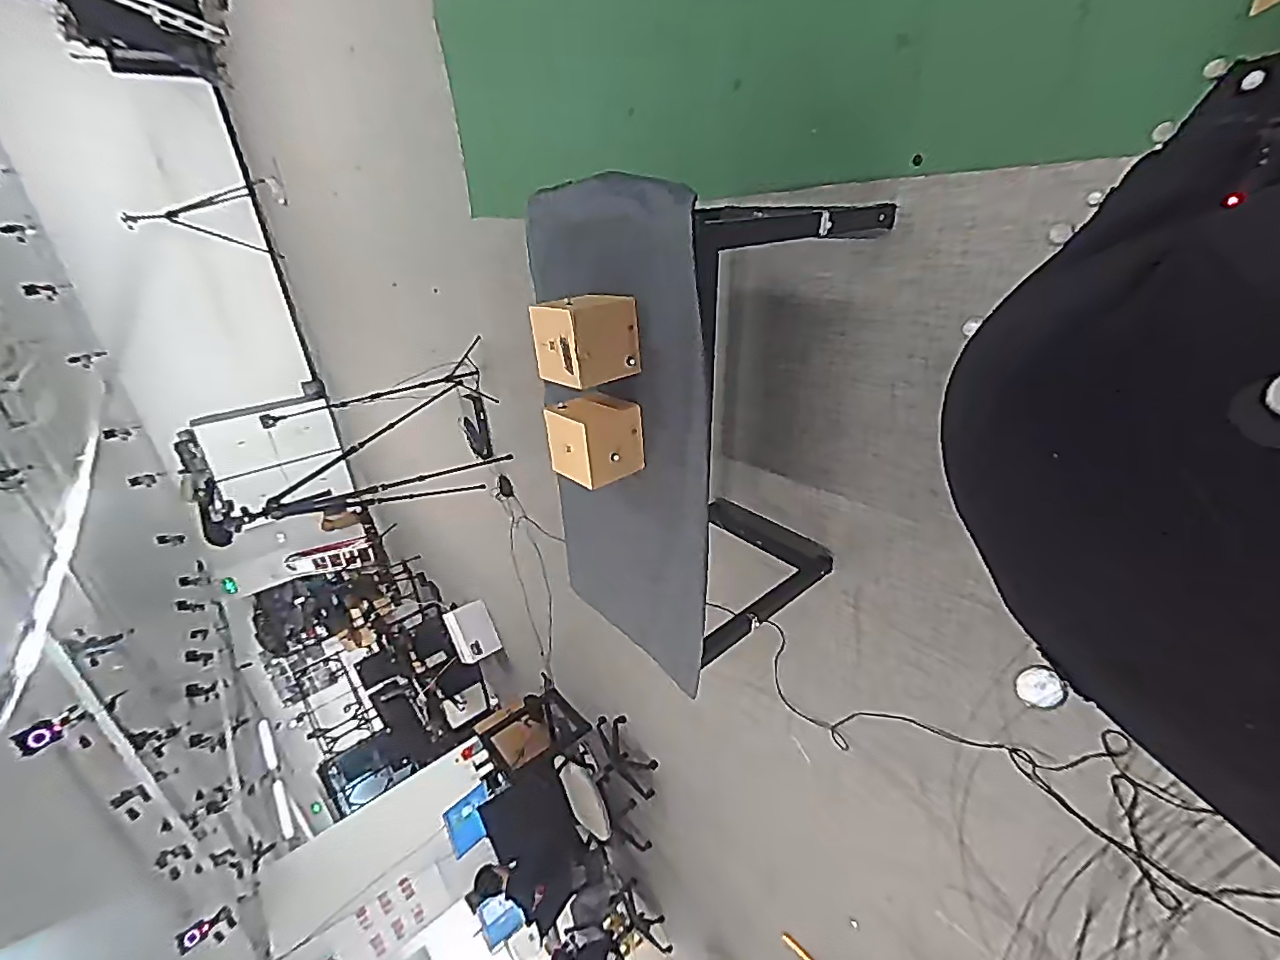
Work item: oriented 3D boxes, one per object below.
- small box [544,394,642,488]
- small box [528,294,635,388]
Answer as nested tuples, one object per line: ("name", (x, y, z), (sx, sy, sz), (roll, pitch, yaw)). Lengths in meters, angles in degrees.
("small box", (-0.108, -0.103, 1.316), (0.179, 0.176, 0.168), (24, 128, 46))
("small box", (-0.122, -0.316, 1.205), (0.179, 0.176, 0.168), (24, 128, 46))
